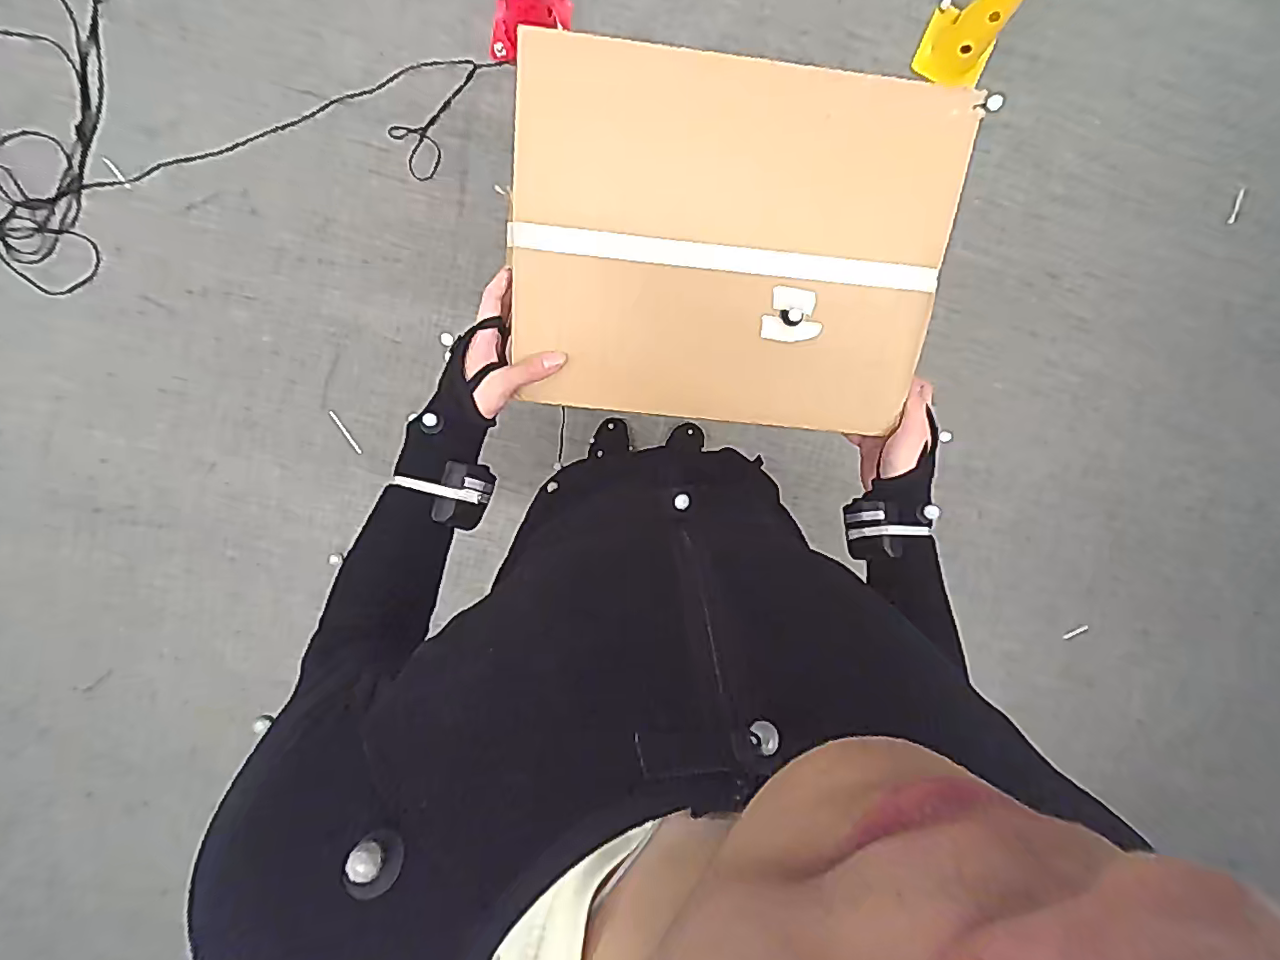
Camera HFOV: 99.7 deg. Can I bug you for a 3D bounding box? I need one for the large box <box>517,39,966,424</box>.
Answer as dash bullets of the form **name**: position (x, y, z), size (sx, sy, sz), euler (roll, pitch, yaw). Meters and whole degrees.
- **large box**: position (0.075, -0.263, 0.656), size (0.408, 0.320, 0.320), euler (4, 110, -4)
